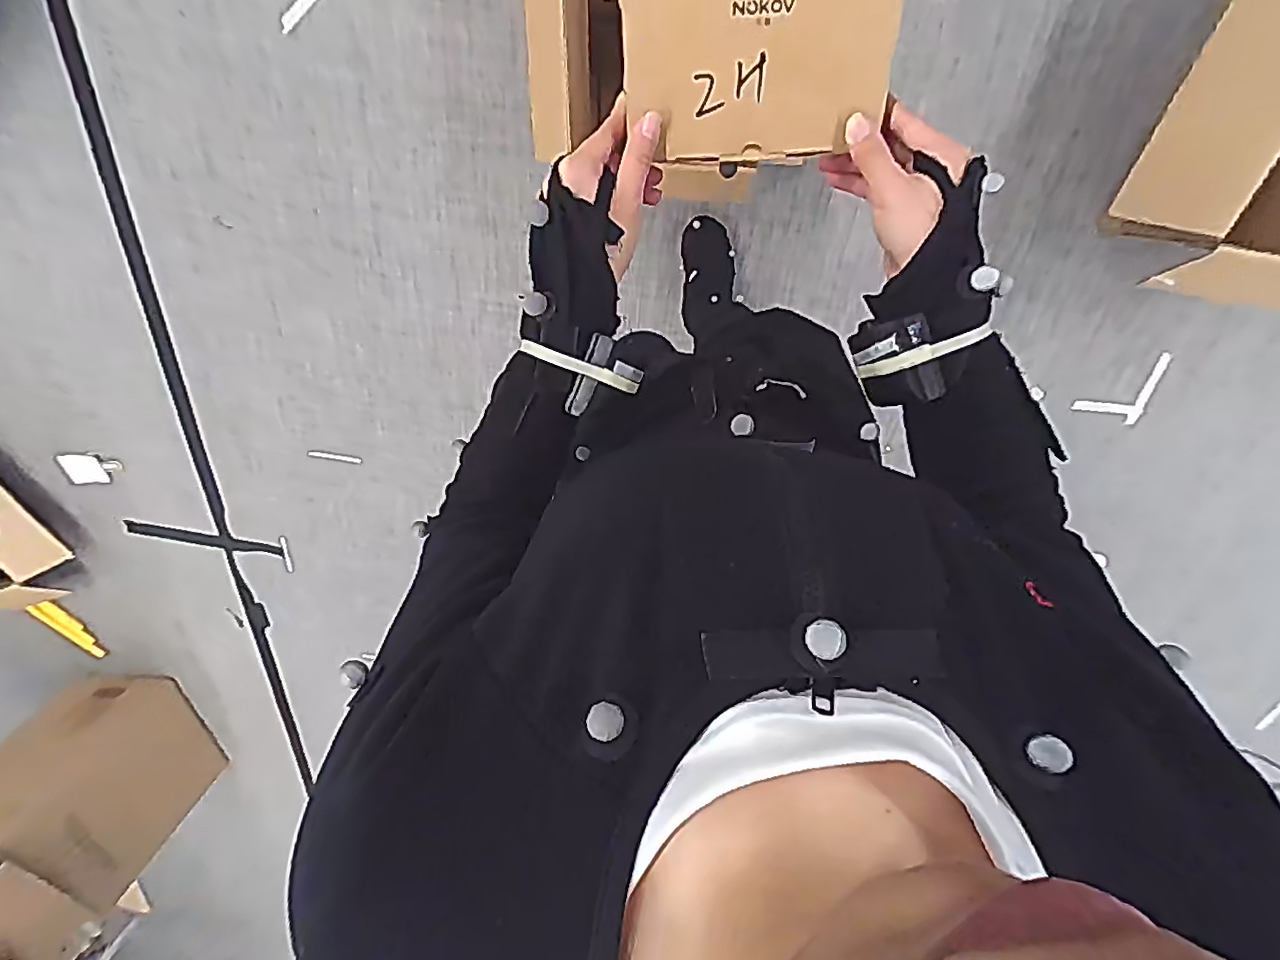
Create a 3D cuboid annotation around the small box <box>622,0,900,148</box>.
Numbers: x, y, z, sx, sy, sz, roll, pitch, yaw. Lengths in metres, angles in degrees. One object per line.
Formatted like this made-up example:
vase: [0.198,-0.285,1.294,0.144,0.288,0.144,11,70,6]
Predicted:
small box: [0.070,-0.337,0.377,0.168,0.176,0.179,-2,123,2]
